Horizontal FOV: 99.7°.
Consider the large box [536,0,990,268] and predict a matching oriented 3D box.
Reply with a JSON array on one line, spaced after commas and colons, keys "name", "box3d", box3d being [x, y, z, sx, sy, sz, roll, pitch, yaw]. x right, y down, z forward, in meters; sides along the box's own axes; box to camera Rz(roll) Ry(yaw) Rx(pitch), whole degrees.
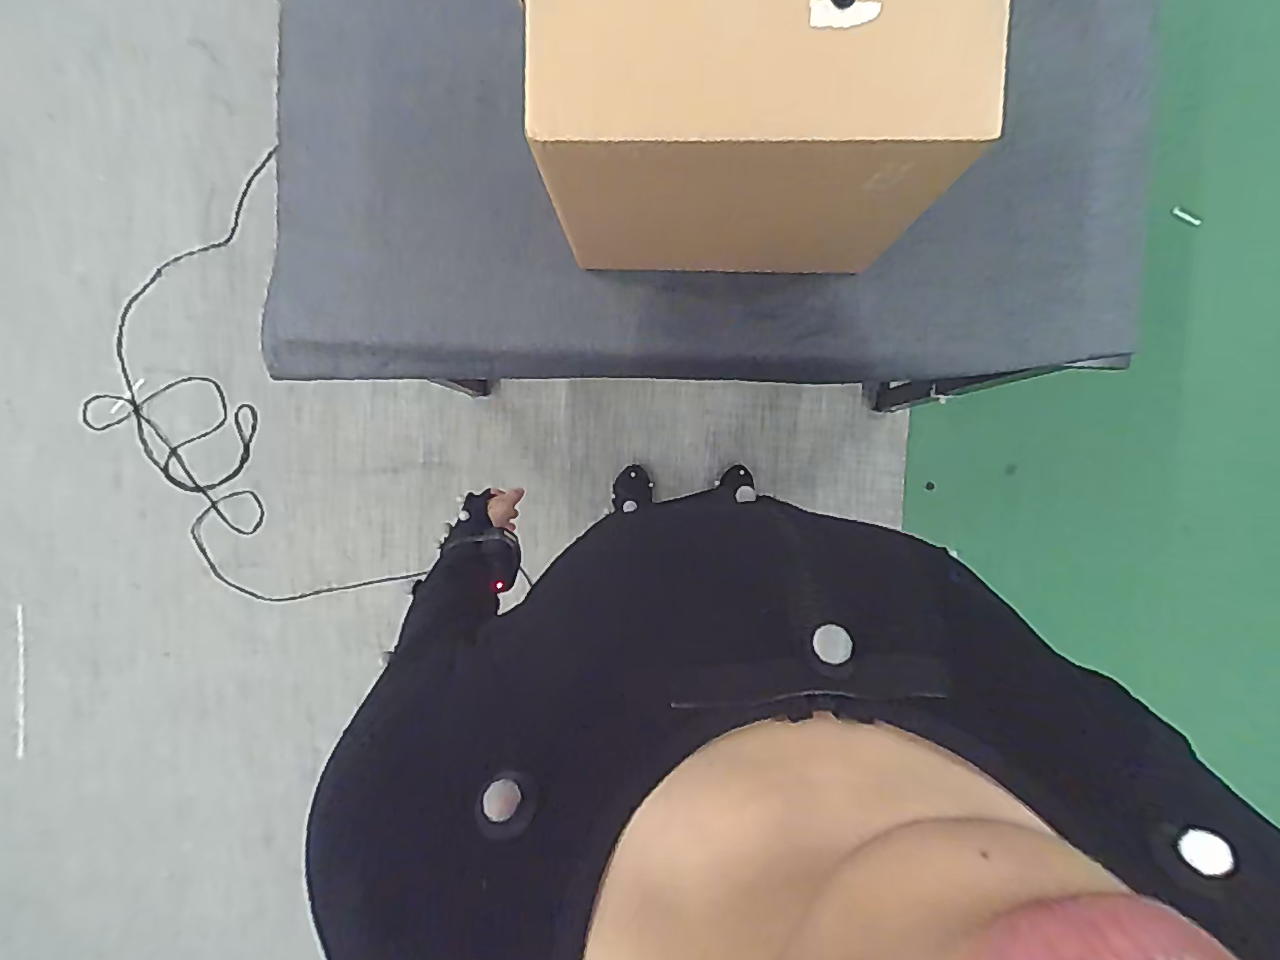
[{"name": "large box", "box3d": [0.108, -0.455, 0.621, 0.408, 0.320, 0.320, 1, 92, 2]}]
